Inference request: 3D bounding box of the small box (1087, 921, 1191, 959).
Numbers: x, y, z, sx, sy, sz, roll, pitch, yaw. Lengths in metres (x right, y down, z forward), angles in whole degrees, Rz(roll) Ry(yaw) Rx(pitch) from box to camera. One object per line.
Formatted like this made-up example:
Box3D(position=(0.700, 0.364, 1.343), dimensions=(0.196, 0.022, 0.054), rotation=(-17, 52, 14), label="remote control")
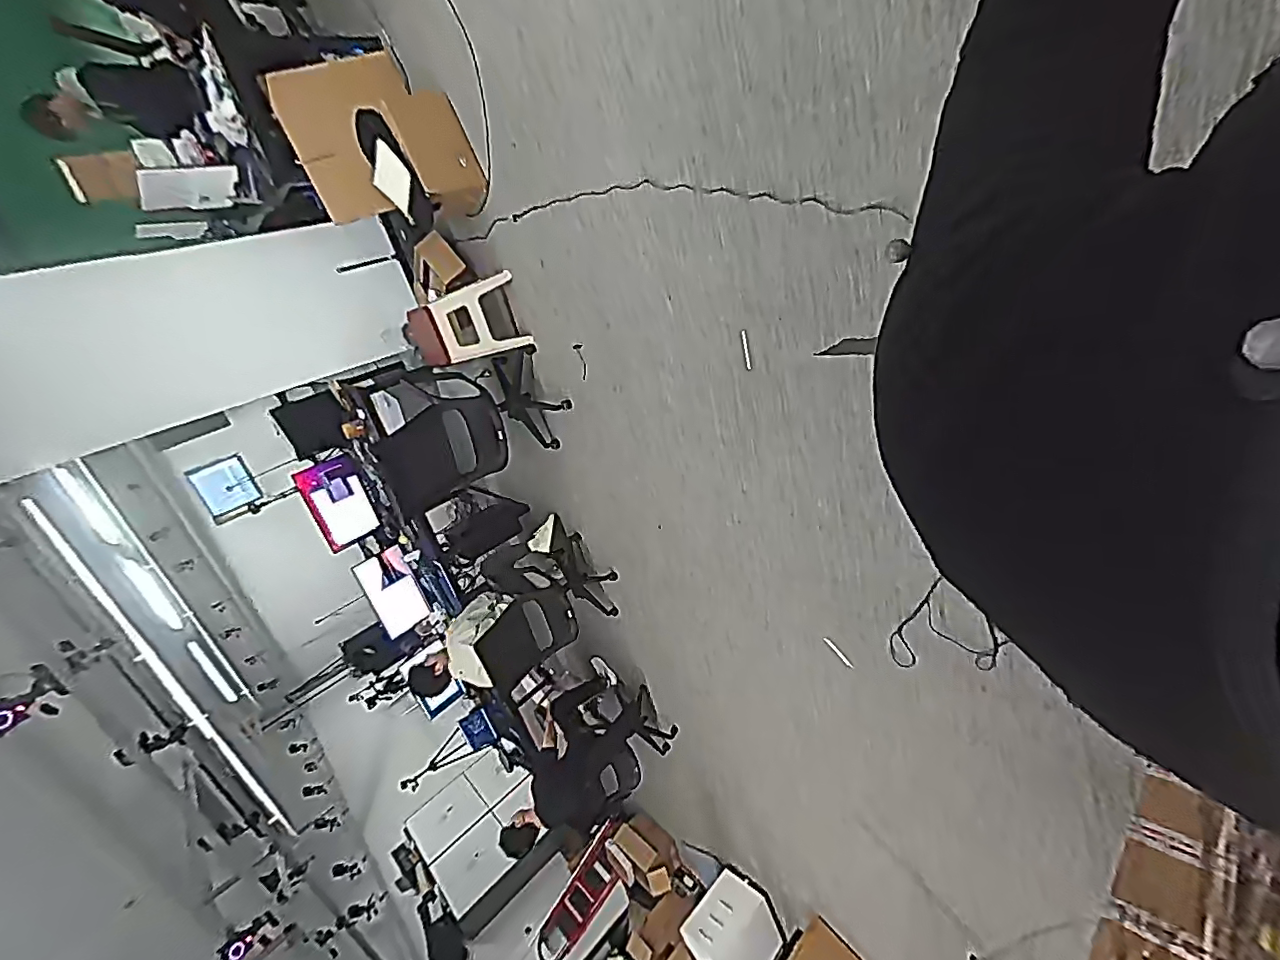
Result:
Box3D(position=(1.129, 1.148, 1.208), dimensions=(0.179, 0.176, 0.168), rotation=(3, 115, 53), label="small box")
